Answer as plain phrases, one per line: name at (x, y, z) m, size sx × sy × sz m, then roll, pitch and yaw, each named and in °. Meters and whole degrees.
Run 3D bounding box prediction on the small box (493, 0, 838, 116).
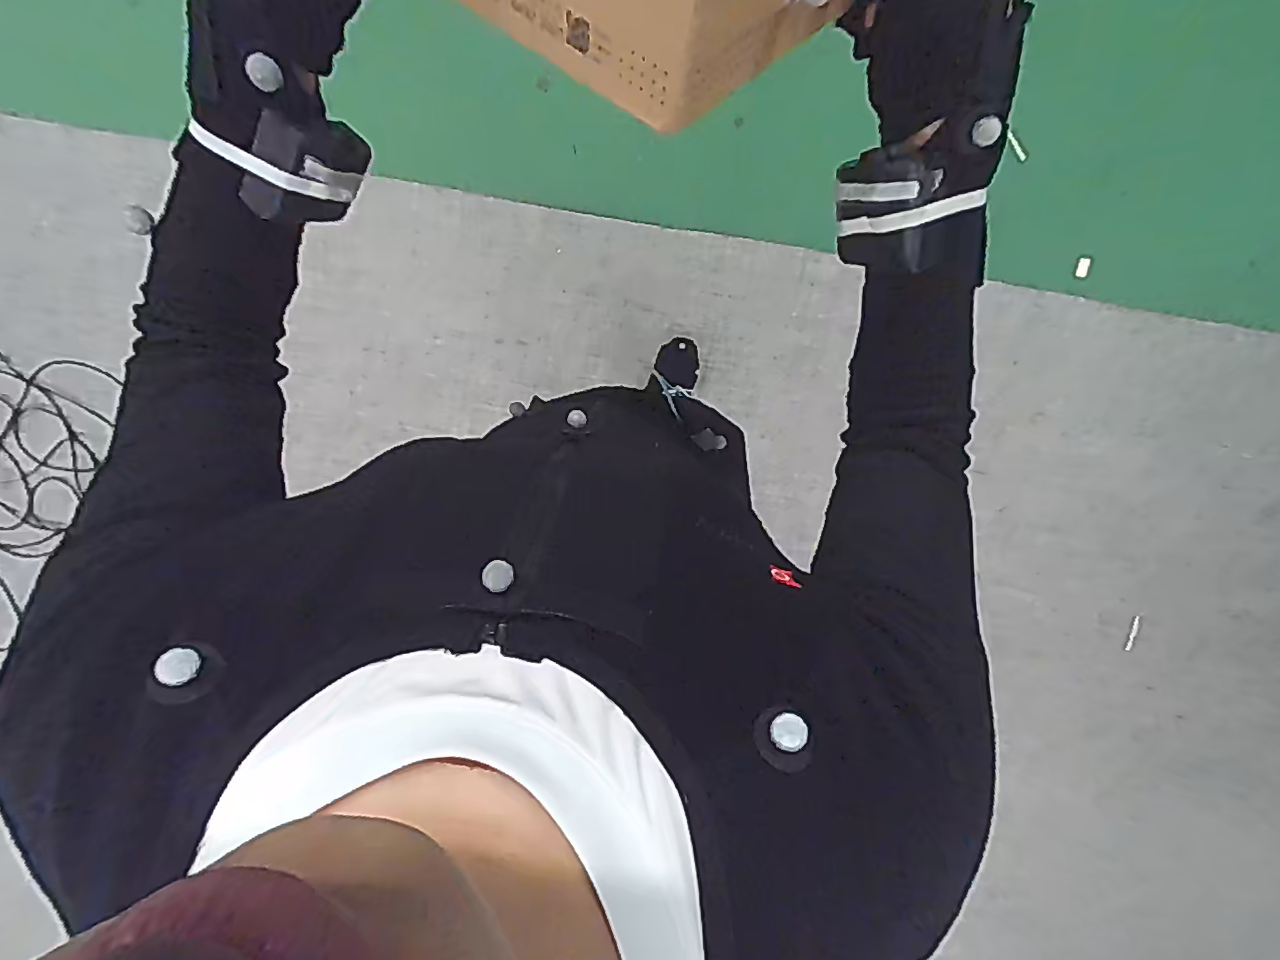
small box at (0.022, -0.312, 0.237) m, size 0.168 × 0.176 × 0.179 m, roll 39°, pitch 69°, yaw 10°
